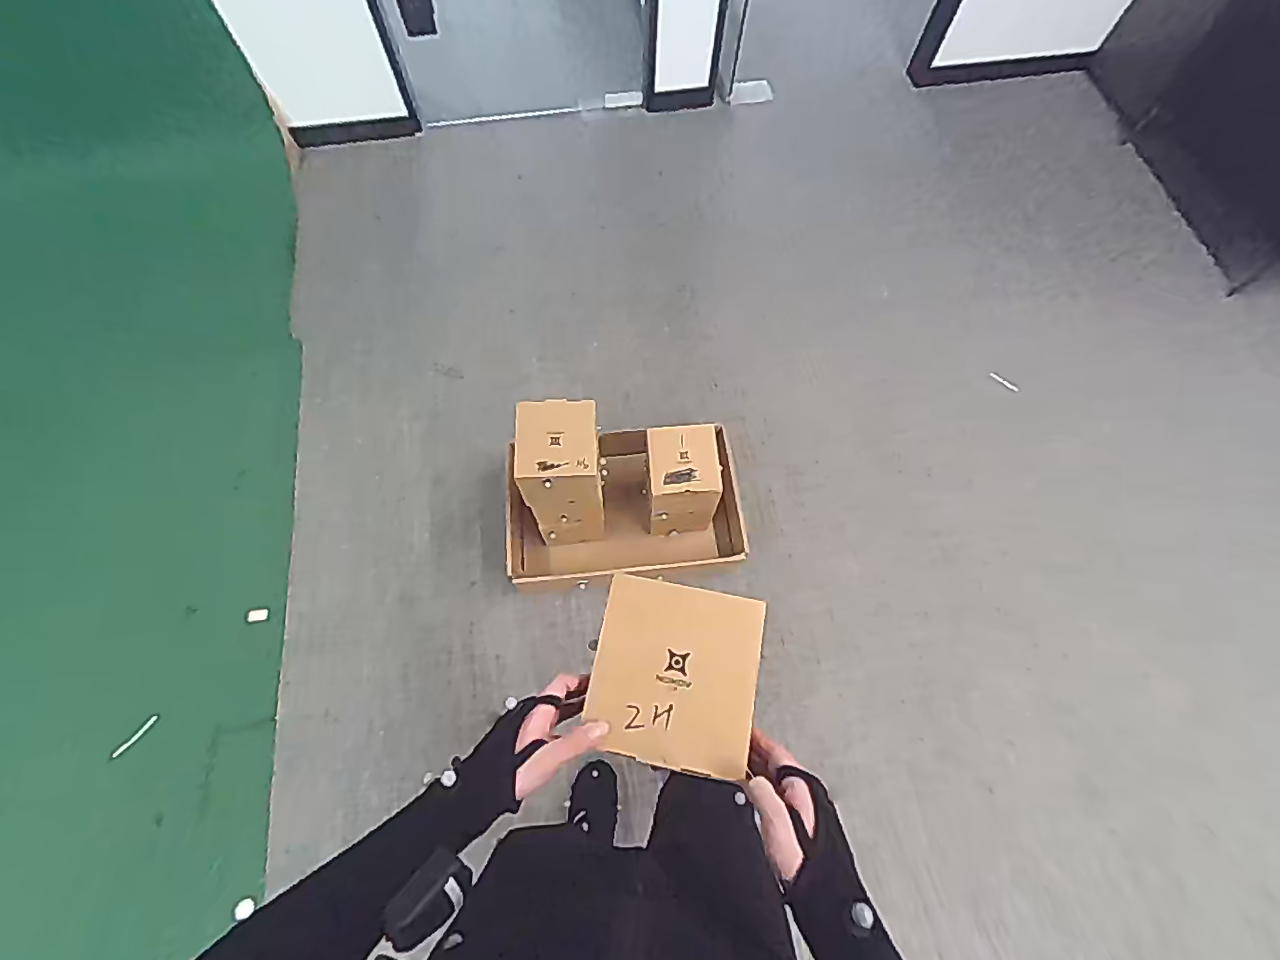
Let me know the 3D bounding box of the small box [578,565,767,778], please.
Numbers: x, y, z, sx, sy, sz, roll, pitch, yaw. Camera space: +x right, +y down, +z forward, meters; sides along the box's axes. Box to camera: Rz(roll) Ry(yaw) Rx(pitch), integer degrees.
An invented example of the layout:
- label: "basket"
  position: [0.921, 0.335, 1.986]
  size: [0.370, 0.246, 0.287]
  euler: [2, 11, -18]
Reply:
- label: "small box"
  position: [0.038, 0.214, 0.615]
  size: [0.168, 0.176, 0.179]
  euler: [10, 68, 6]

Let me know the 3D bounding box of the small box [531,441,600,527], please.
- label: "small box"
  position: [-0.184, 0.002, 1.320]
  size: [0.168, 0.176, 0.179]
  euler: [-4, 67, -5]

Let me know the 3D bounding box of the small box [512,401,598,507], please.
- label: "small box"
  position: [-0.177, -0.053, 1.165]
  size: [0.168, 0.176, 0.179]
  euler: [-1, 66, -4]

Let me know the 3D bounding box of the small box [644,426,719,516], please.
- label: "small box"
  position: [0.097, -0.016, 1.336]
  size: [0.168, 0.176, 0.179]
  euler: [-3, 67, -2]
